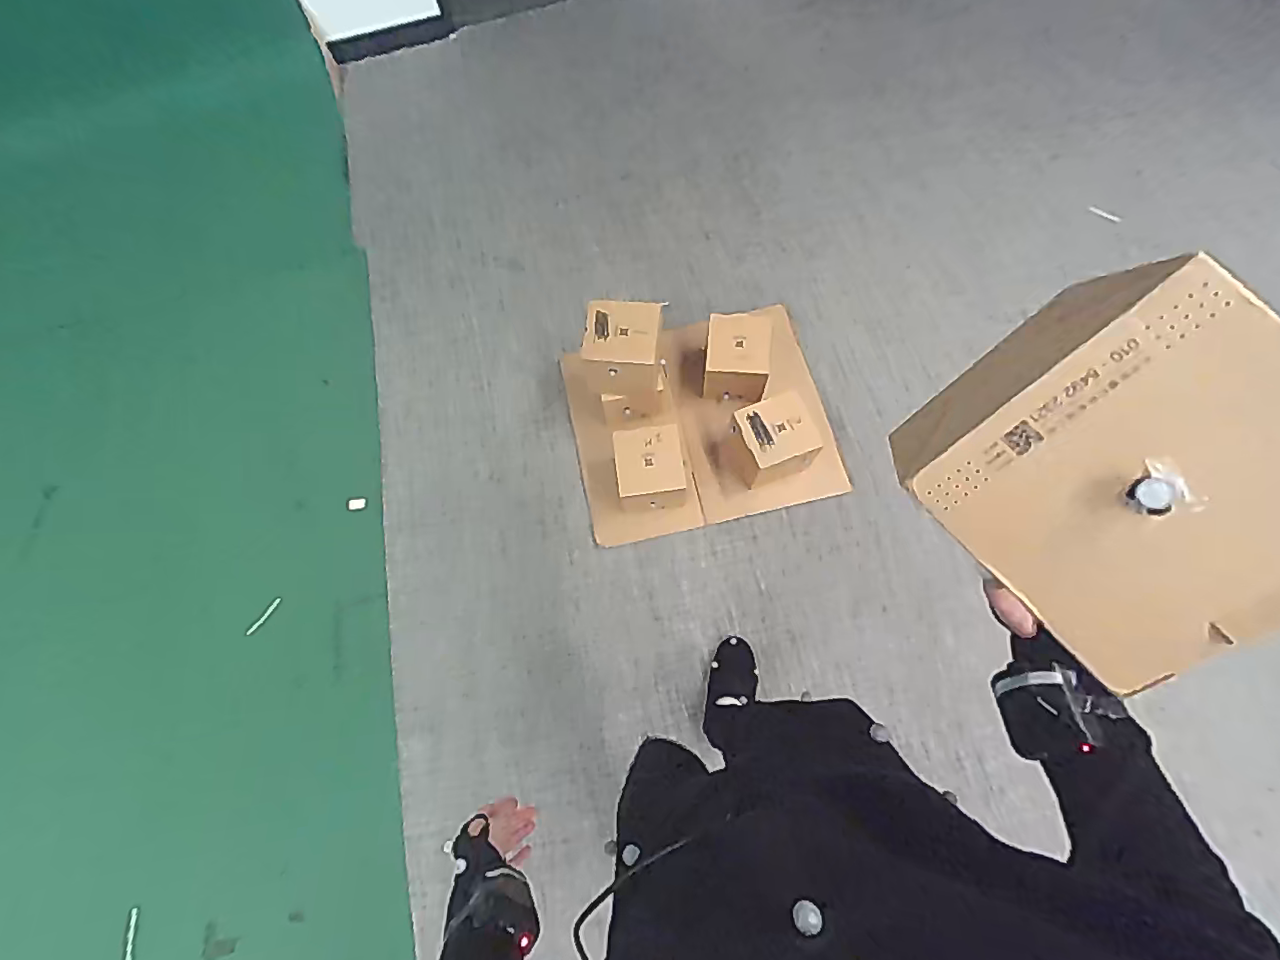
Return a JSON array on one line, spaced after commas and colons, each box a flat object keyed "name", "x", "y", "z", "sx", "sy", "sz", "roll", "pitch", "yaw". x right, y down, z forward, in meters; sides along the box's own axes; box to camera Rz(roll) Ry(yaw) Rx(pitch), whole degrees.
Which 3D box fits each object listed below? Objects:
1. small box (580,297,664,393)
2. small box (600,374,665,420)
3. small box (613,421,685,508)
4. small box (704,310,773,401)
[{"name": "small box", "x": -0.038, "y": -0.326, "z": 1.330, "sx": 0.179, "sy": 0.176, "sz": 0.168, "roll": 6, "pitch": 72, "yaw": 5}, {"name": "small box", "x": -0.027, "y": -0.278, "z": 1.487, "sx": 0.168, "sy": 0.176, "sz": 0.179, "roll": -11, "pitch": 71, "yaw": 0}, {"name": "small box", "x": 0.026, "y": -0.033, "z": 1.400, "sx": 0.168, "sy": 0.176, "sz": 0.179, "roll": -7, "pitch": 71, "yaw": 1}, {"name": "small box", "x": 0.265, "y": -0.338, "z": 1.482, "sx": 0.168, "sy": 0.176, "sz": 0.179, "roll": 5, "pitch": 72, "yaw": 6}]
